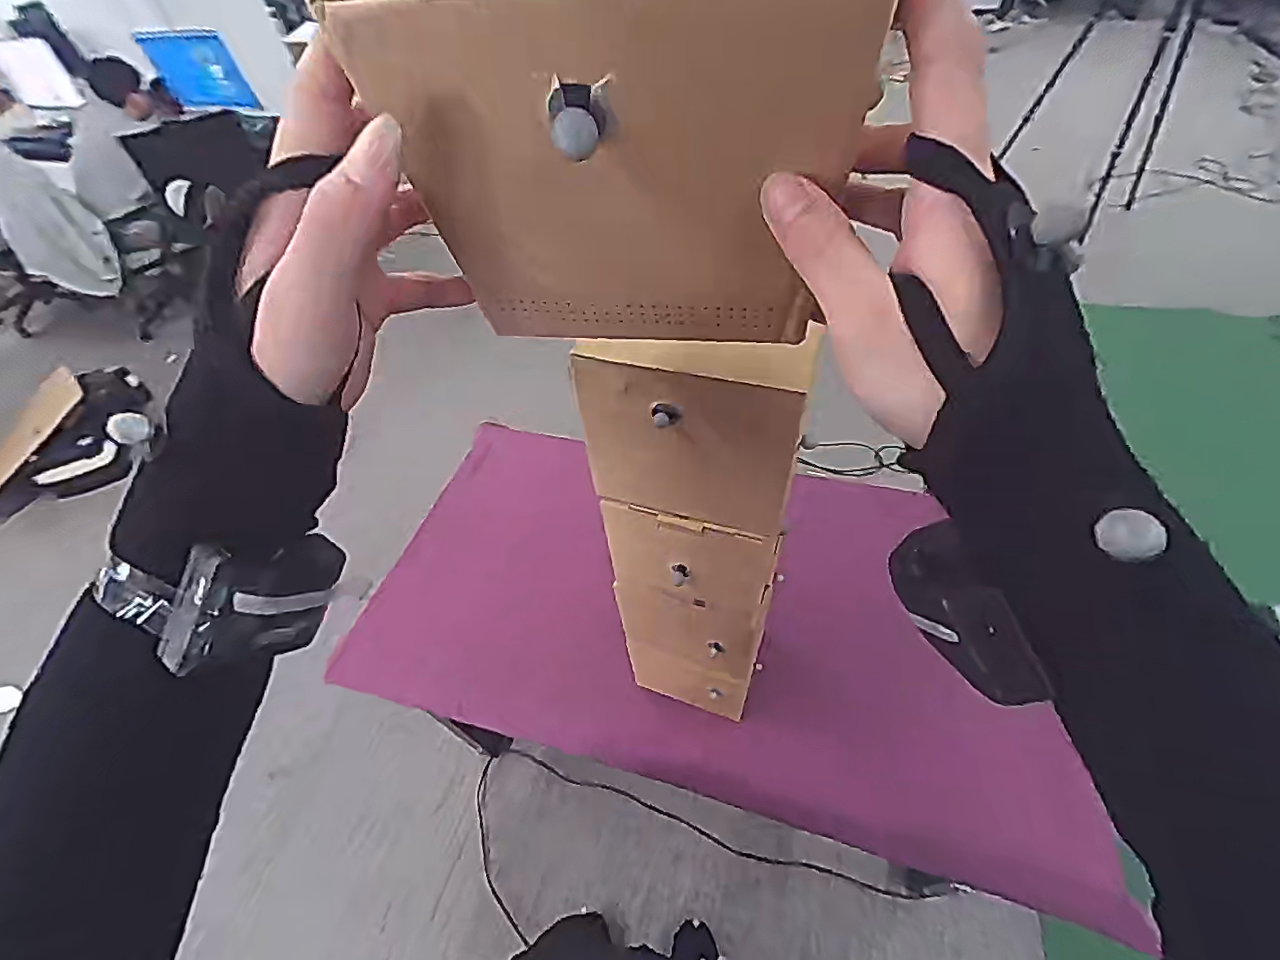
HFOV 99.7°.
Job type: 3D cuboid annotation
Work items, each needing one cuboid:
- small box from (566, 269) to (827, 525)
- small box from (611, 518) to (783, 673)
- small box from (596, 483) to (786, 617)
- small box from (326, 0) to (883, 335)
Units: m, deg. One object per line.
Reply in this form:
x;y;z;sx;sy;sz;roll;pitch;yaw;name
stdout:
0.056;-0.081;0.490;0.179;0.176;0.168;12;51;15;small box
0.081;0.139;0.732;0.179;0.176;0.168;13;52;18;small box
0.070;0.029;0.612;0.168;0.176;0.179;14;53;17;small box
0.004;-0.187;0.262;0.179;0.176;0.168;4;68;11;small box
